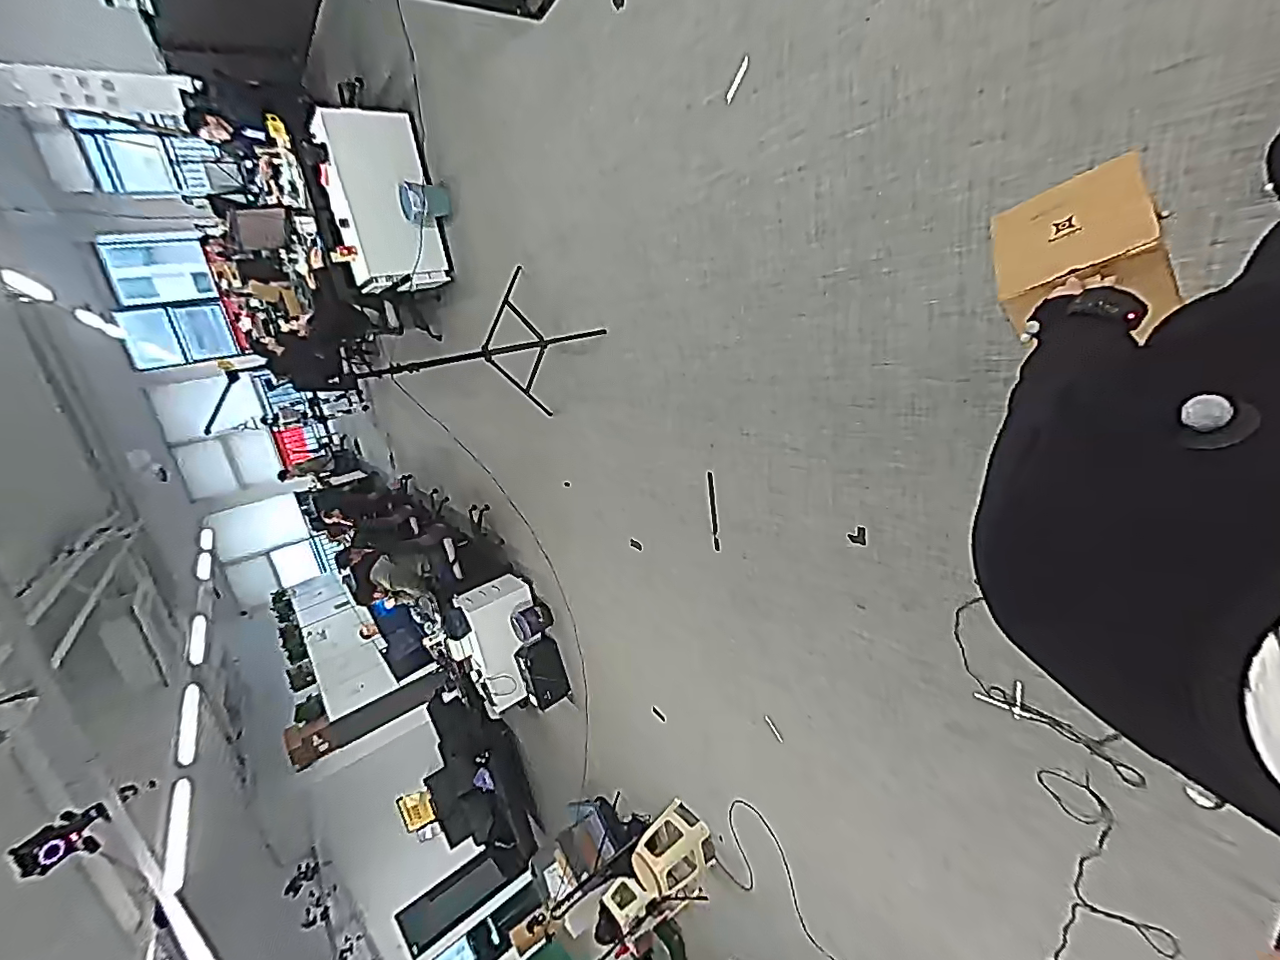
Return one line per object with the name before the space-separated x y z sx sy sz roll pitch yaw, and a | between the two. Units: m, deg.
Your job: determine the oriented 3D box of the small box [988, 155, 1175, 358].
small box | 0.617 -0.296 0.763 0.168 0.176 0.179 -16 51 45
